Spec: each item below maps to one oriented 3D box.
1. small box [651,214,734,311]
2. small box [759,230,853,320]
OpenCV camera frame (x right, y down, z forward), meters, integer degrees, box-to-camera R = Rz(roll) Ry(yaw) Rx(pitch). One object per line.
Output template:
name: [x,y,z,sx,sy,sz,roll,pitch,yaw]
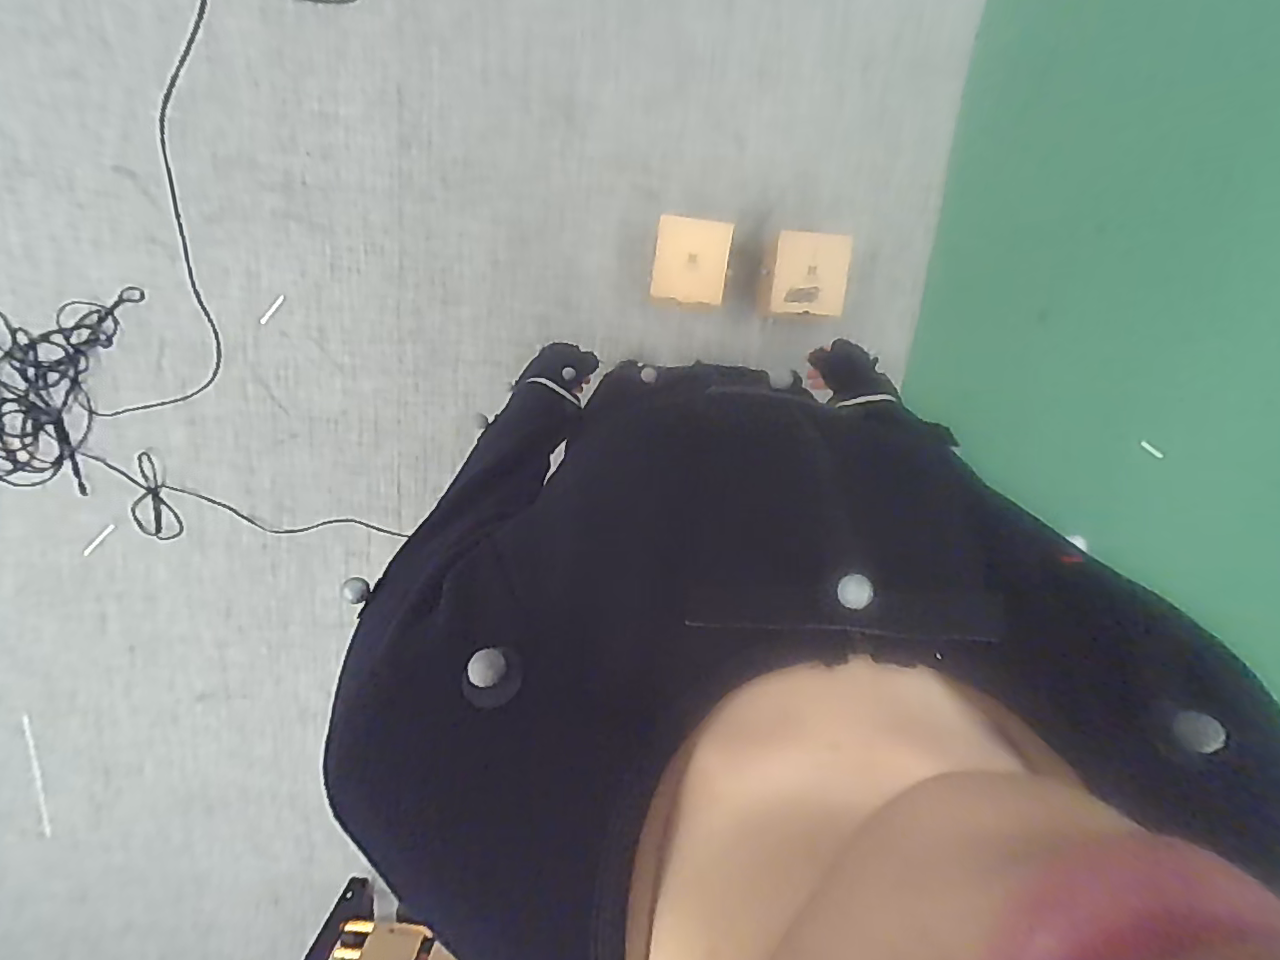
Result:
small box: [0.117,-0.510,1.288,0.168,0.176,0.179,8,104,-1]
small box: [0.385,-0.479,1.286,0.168,0.176,0.179,5,103,1]
